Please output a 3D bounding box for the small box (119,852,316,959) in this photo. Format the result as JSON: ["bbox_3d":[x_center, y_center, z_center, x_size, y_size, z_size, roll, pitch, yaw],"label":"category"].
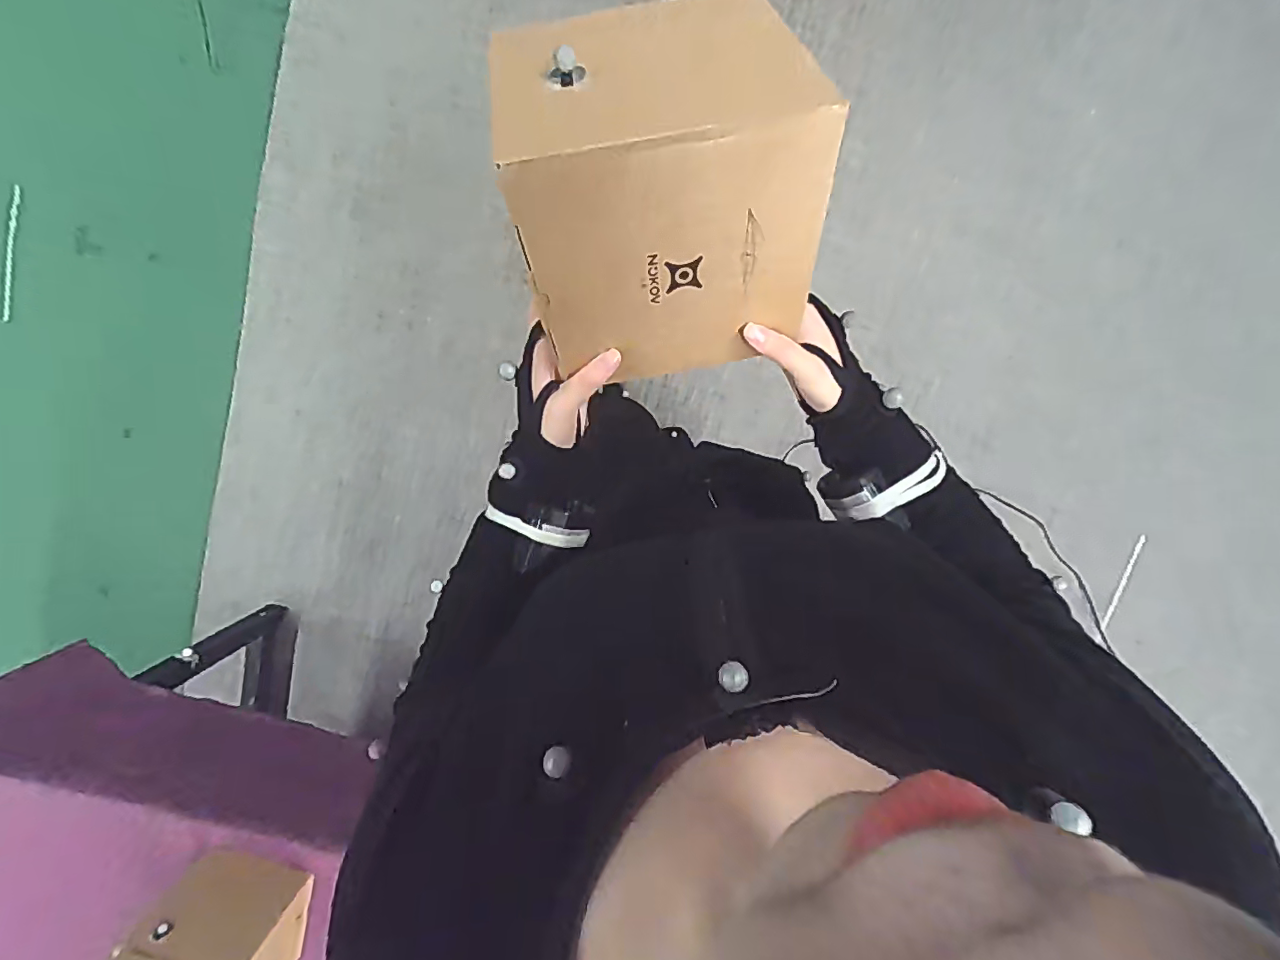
[{"bbox_3d":[-0.627,0.709,0.816,0.179,0.176,0.168,14,100,1],"label":"small box"}]

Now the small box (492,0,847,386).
[{"bbox_3d":[0.009,-0.192,0.368,0.179,0.168,0.176,-10,58,-1],"label":"small box"}]
